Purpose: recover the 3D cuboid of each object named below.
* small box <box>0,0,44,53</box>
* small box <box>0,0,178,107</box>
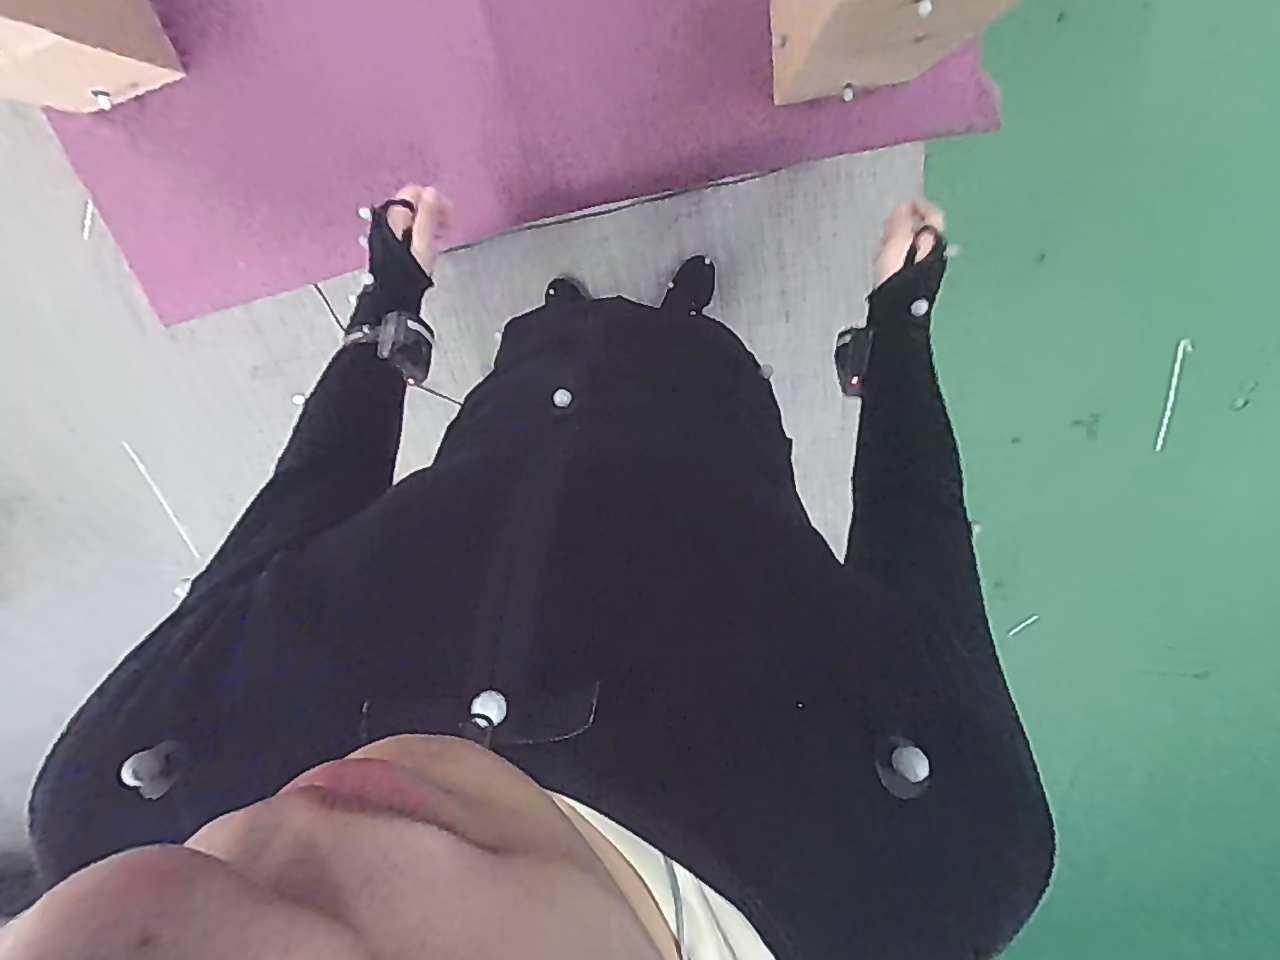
[{"bbox_3d":[-0.716,-0.494,0.469,0.168,0.176,0.179,-11,114,11],"label":"small box"},{"bbox_3d":[-0.704,-0.562,0.617,0.168,0.176,0.179,-11,114,10],"label":"small box"}]
